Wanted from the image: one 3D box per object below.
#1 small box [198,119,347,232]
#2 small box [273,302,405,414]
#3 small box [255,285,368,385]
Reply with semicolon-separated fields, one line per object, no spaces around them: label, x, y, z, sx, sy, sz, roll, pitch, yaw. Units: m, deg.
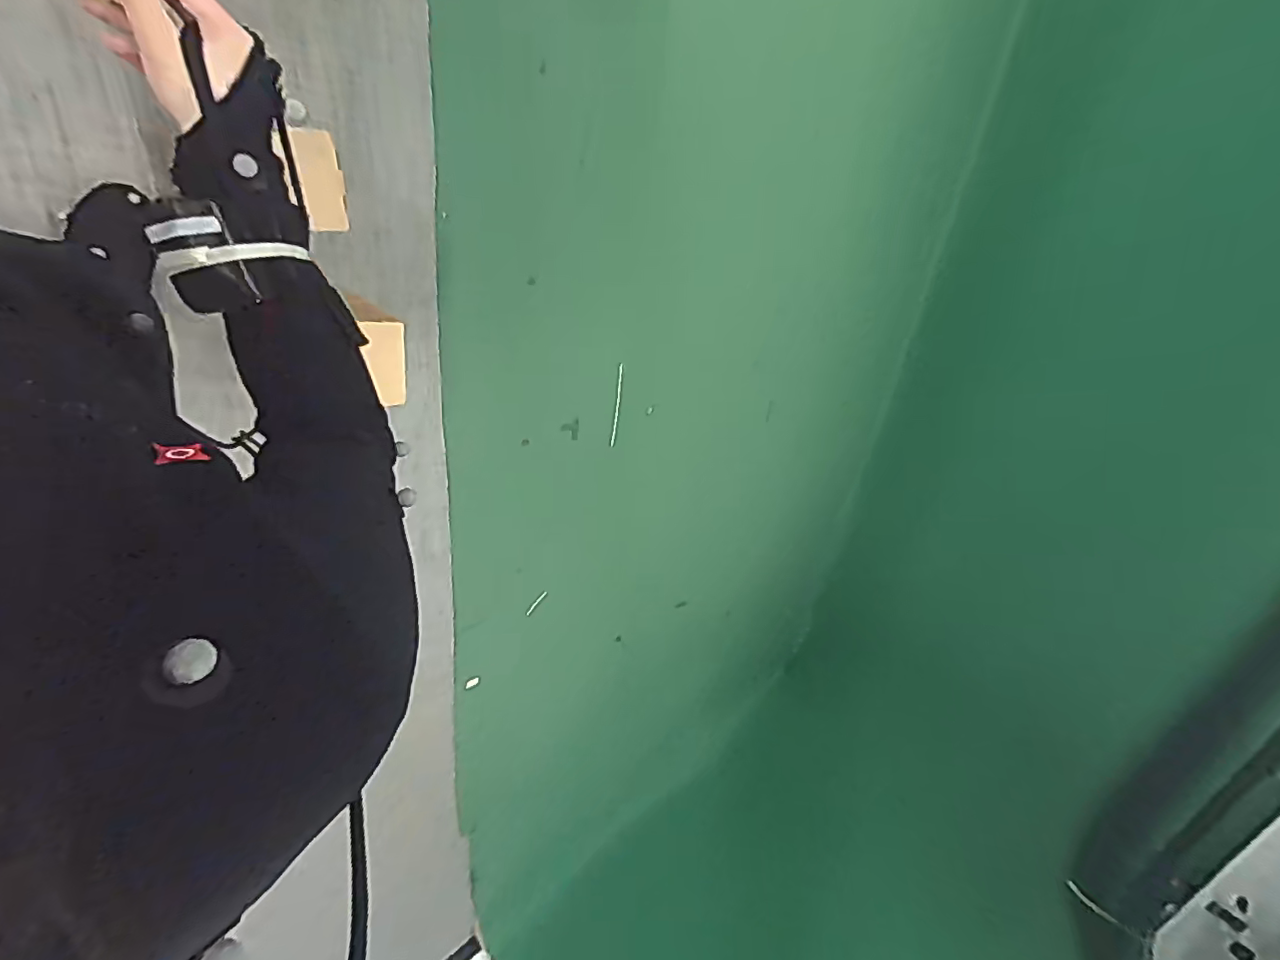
small box;-0.670;-0.555;0.992;0.179;0.176;0.168;-20;127;-38
small box;-0.574;-0.240;1.038;0.179;0.176;0.168;-15;125;-42
small box;-0.686;-0.308;1.136;0.179;0.176;0.168;-15;126;-40
